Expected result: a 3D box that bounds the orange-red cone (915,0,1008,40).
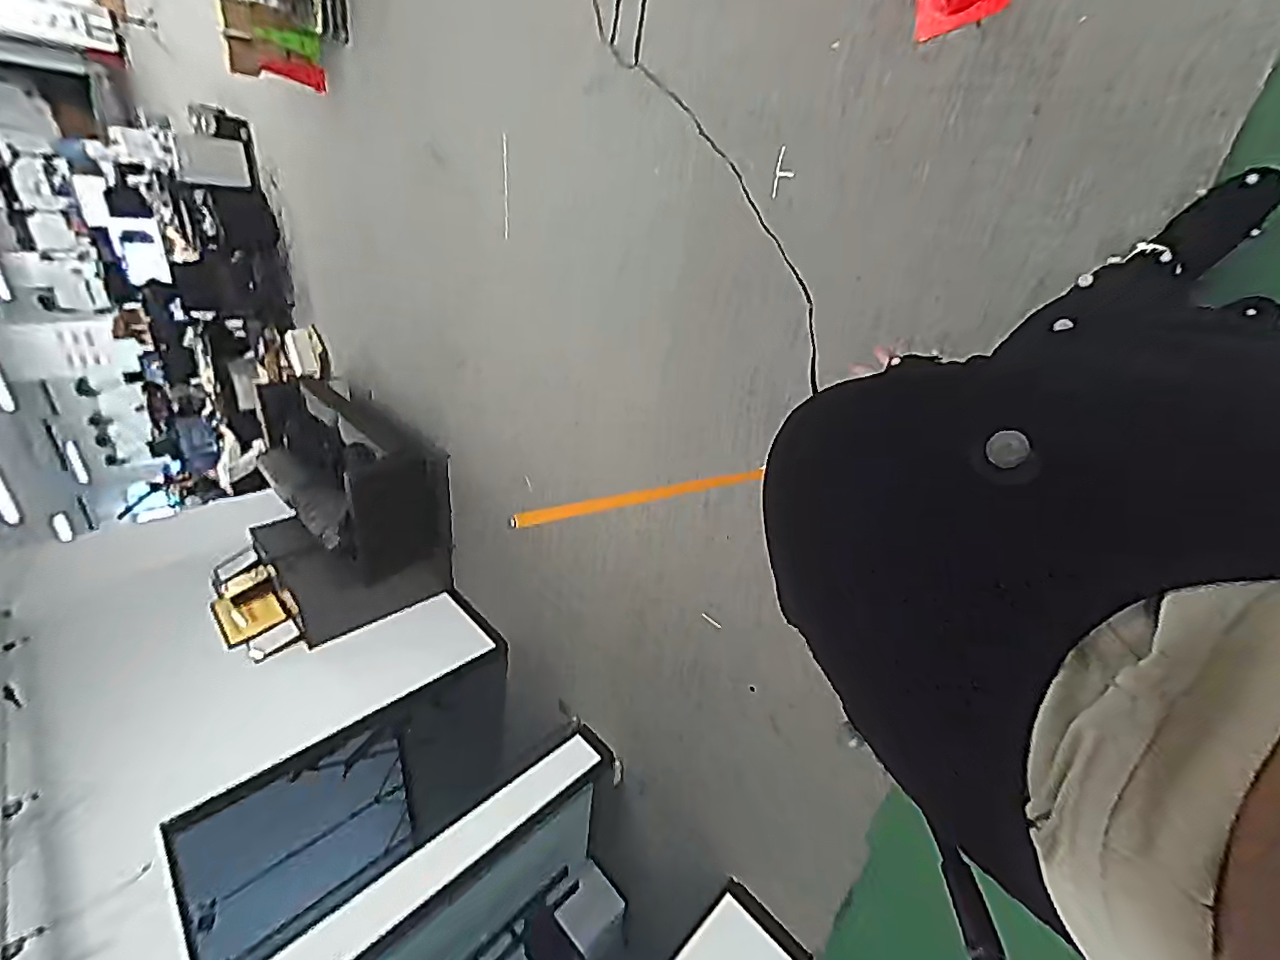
[{"bbox_3d":[0.617,-1.103,1.115,0.198,0.360,0.199,13,113,43],"label":"orange-red cone"}]
